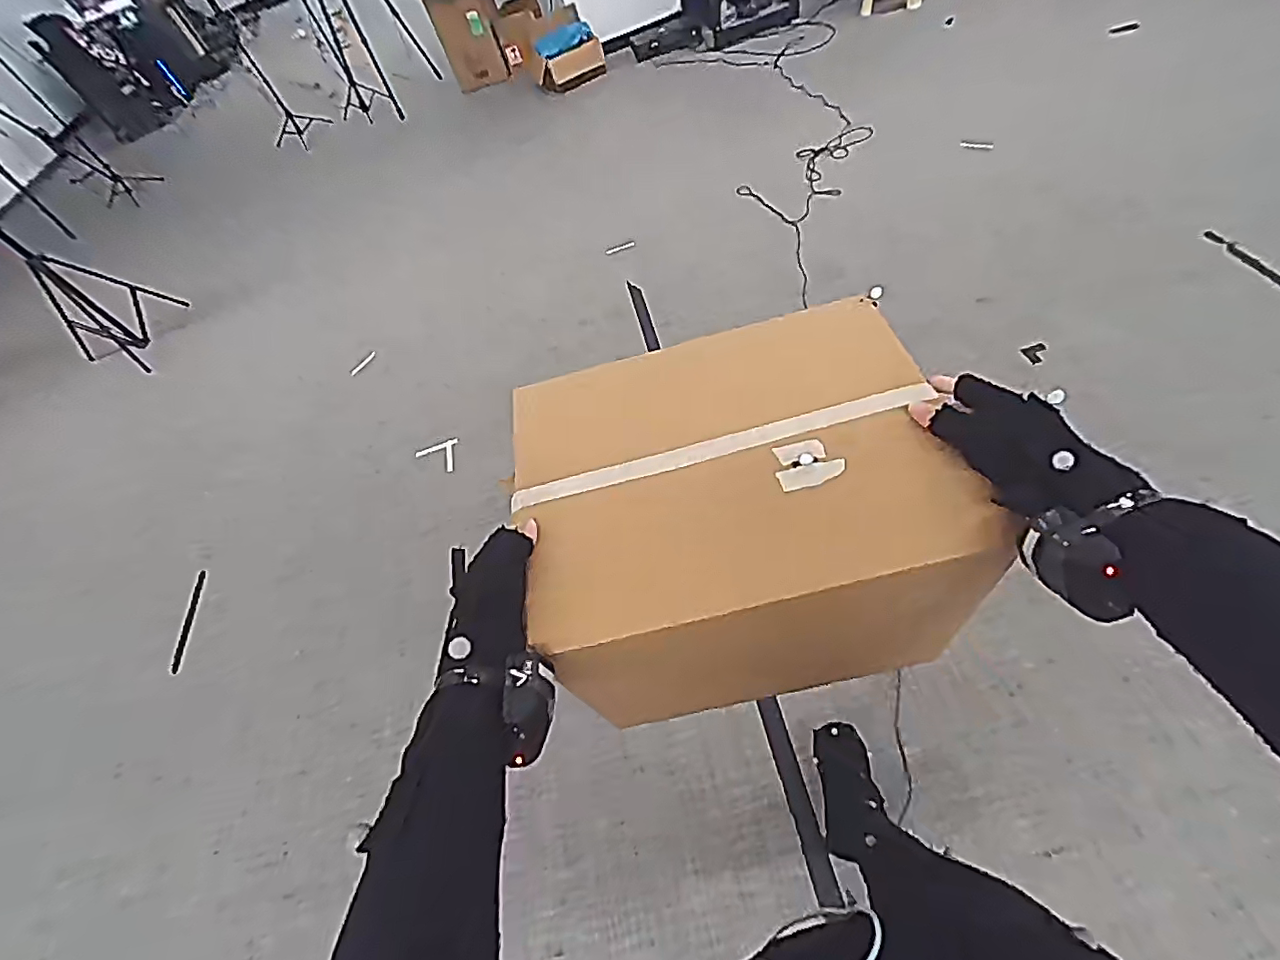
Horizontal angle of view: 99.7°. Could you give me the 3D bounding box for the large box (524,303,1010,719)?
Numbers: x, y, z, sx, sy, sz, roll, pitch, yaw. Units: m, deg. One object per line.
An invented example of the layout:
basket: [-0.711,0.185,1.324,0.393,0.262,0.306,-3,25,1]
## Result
large box: [0.109,0.054,0.648,0.408,0.320,0.320,-14,54,3]
